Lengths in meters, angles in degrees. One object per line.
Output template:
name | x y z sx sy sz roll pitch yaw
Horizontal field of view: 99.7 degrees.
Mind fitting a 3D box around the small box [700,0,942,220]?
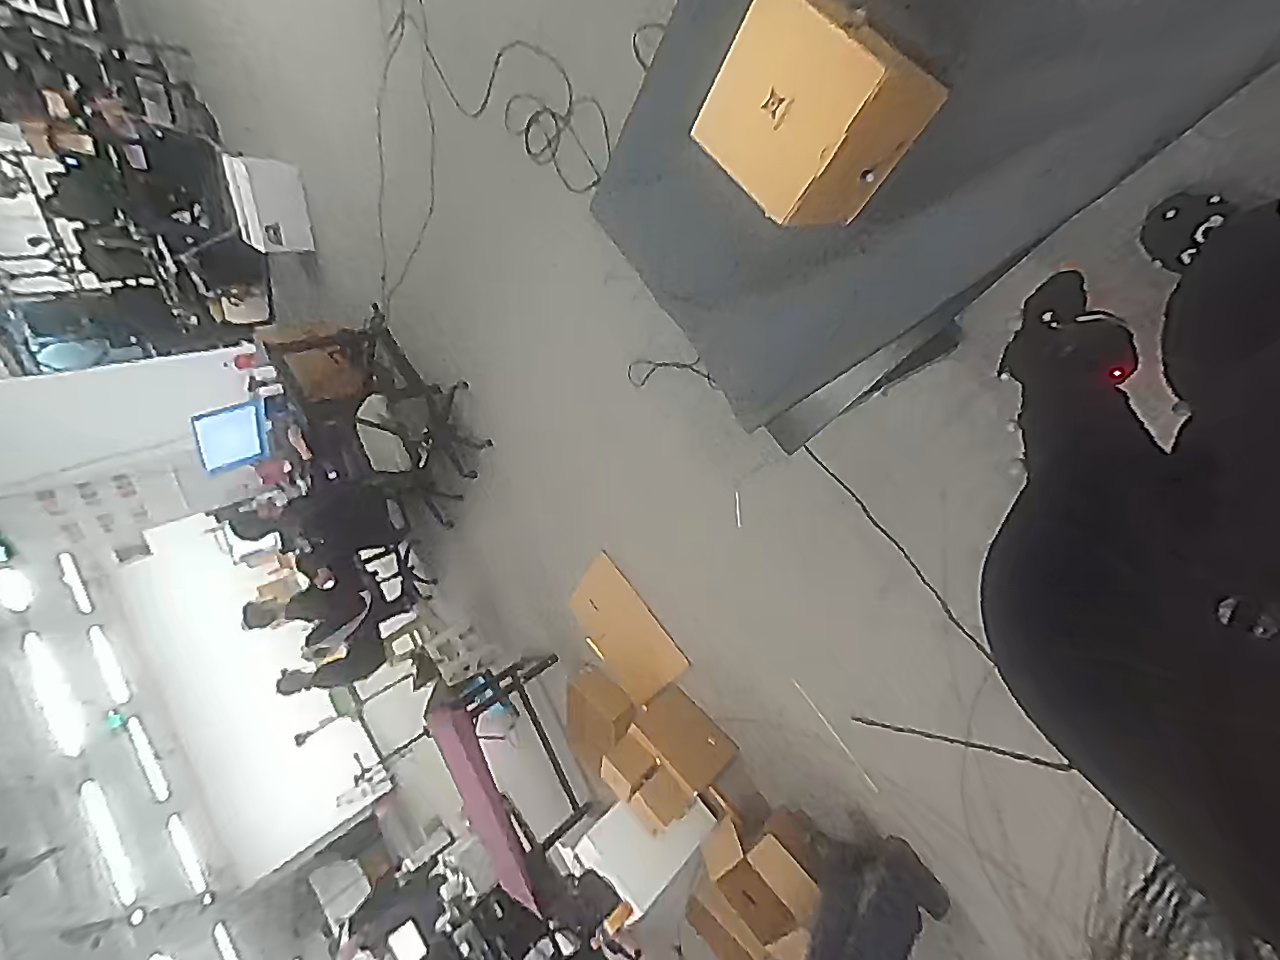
small box | 0.212 -0.432 0.642 0.179 0.176 0.168 52 138 14
